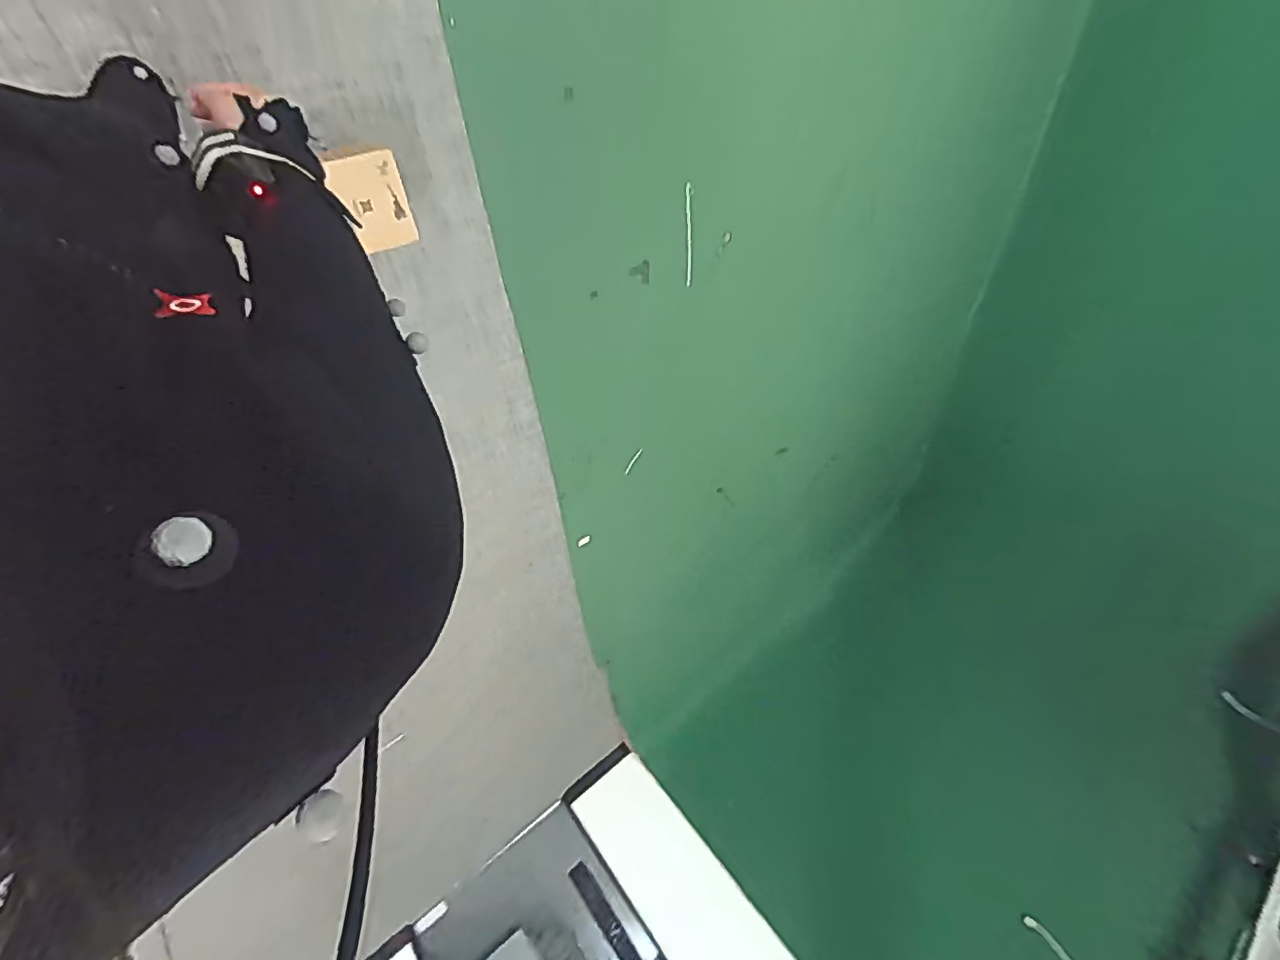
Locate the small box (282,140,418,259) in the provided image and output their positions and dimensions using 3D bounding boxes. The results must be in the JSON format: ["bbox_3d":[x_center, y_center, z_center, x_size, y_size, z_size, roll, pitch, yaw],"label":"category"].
[{"bbox_3d":[-0.570,-0.554,1.059,0.179,0.176,0.168,-29,136,-25],"label":"small box"}]
